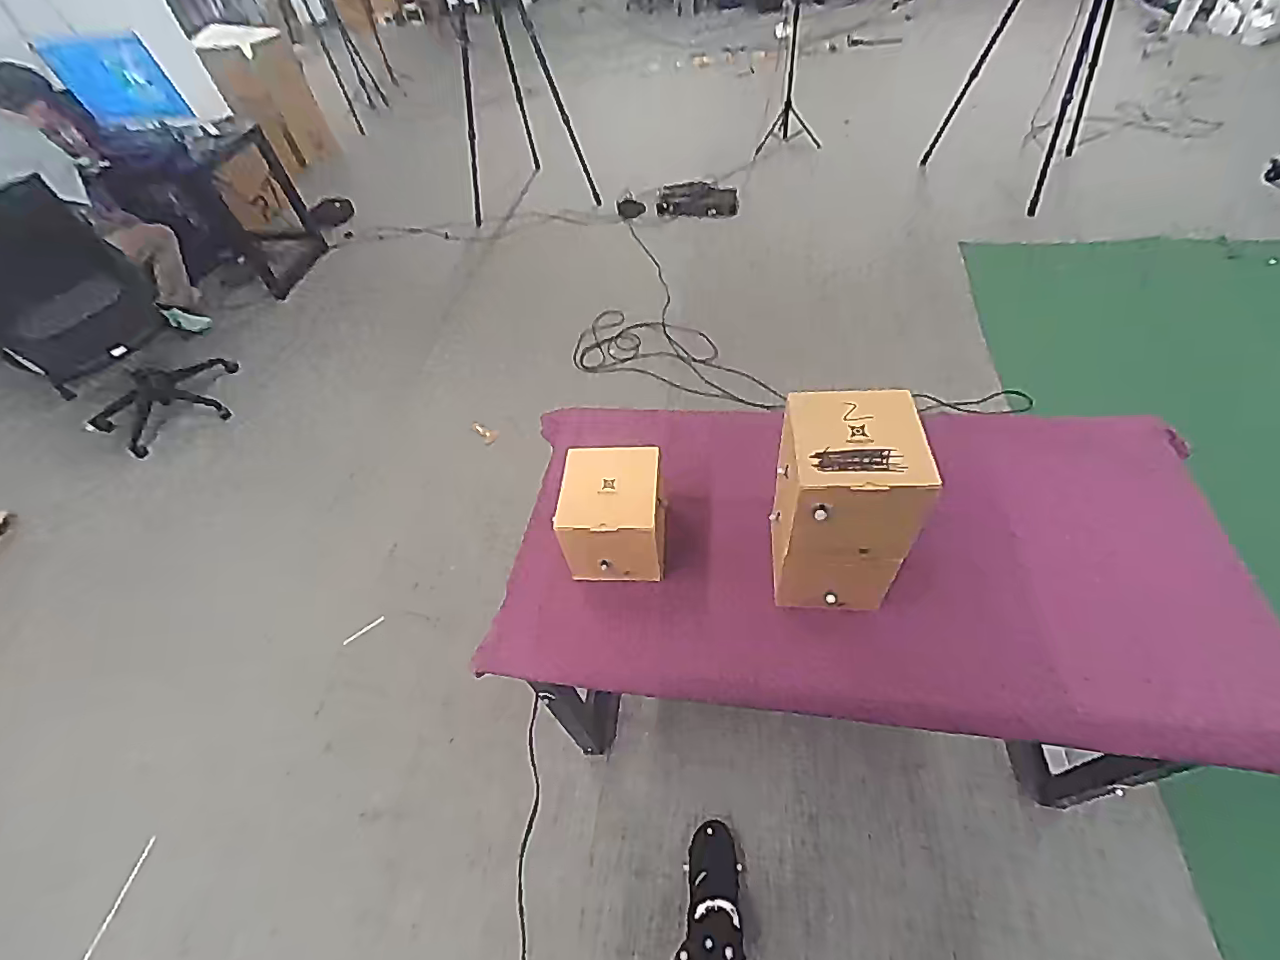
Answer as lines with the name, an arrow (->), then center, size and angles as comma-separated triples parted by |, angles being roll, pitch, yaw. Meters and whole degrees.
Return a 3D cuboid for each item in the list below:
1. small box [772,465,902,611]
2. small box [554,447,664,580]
small box -> 0.308, 0.095, 0.888 | 0.168, 0.176, 0.179 | 1, 51, 9
small box -> -0.045, 0.061, 0.967 | 0.168, 0.176, 0.179 | -1, 52, 7
